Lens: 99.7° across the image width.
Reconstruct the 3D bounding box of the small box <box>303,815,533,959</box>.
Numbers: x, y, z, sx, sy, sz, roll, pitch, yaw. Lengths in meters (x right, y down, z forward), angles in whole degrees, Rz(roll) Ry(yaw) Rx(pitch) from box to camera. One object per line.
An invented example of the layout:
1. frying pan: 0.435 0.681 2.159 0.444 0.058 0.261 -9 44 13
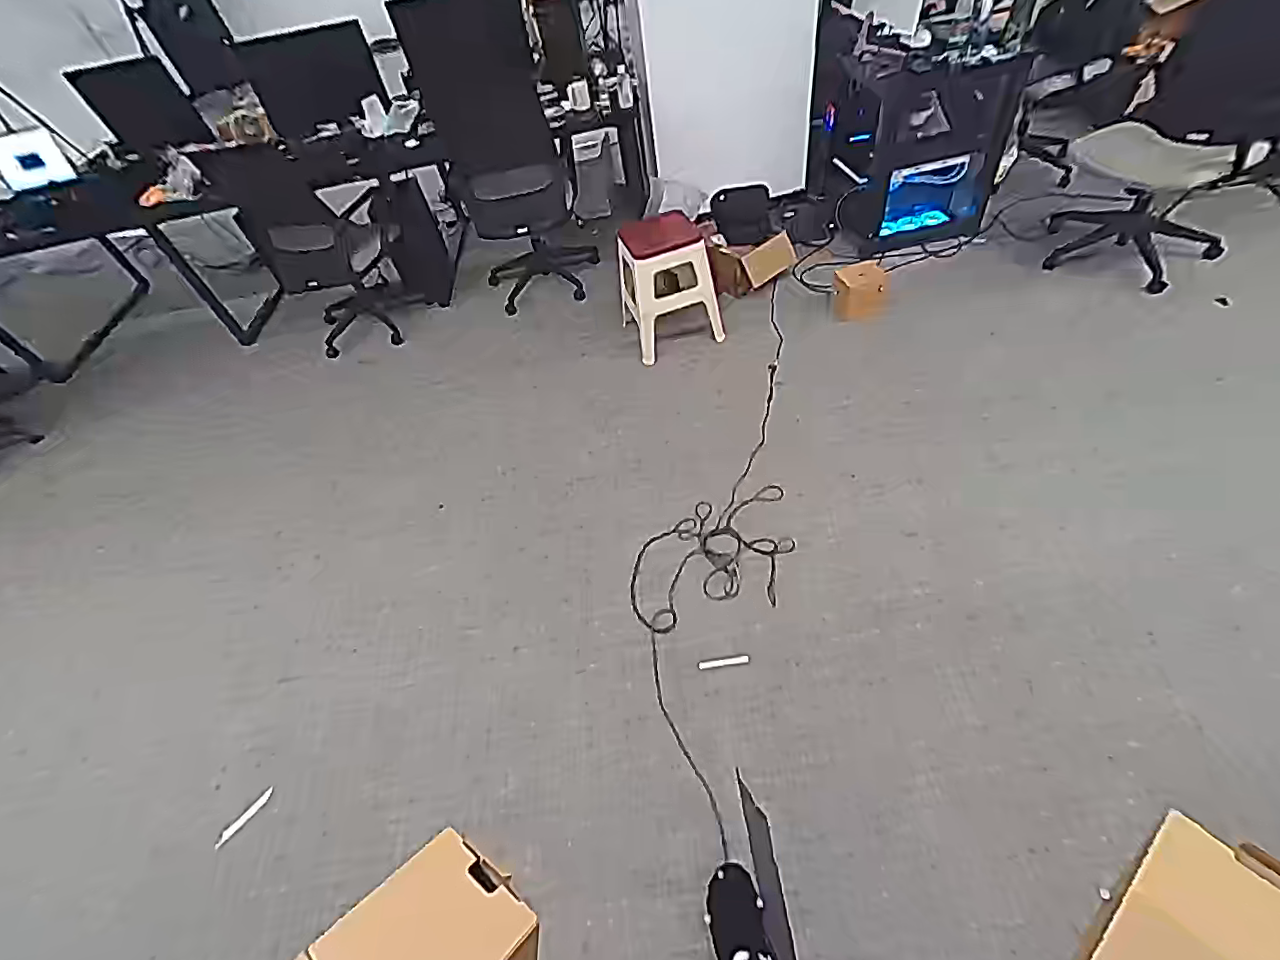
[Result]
1. small box: -0.237 0.541 0.604 0.168 0.176 0.179 22 28 31
